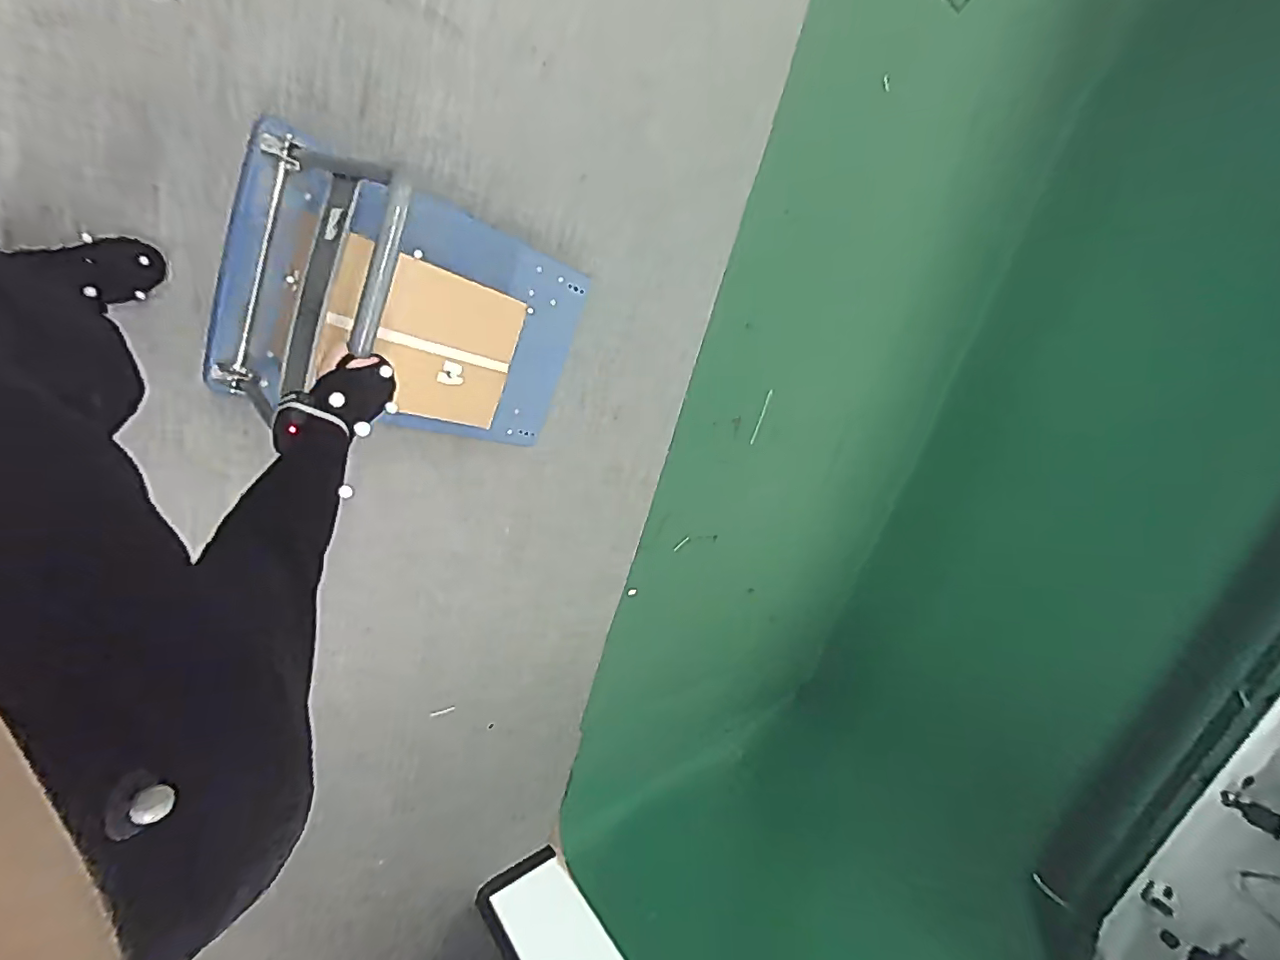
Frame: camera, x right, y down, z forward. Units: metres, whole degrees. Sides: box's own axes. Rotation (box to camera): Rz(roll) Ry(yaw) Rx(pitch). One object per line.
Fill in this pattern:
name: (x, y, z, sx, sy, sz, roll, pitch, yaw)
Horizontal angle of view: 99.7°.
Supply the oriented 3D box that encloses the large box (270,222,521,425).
large box: (-0.556, -0.344, 1.231, 0.408, 0.320, 0.320, 8, 109, -48)
